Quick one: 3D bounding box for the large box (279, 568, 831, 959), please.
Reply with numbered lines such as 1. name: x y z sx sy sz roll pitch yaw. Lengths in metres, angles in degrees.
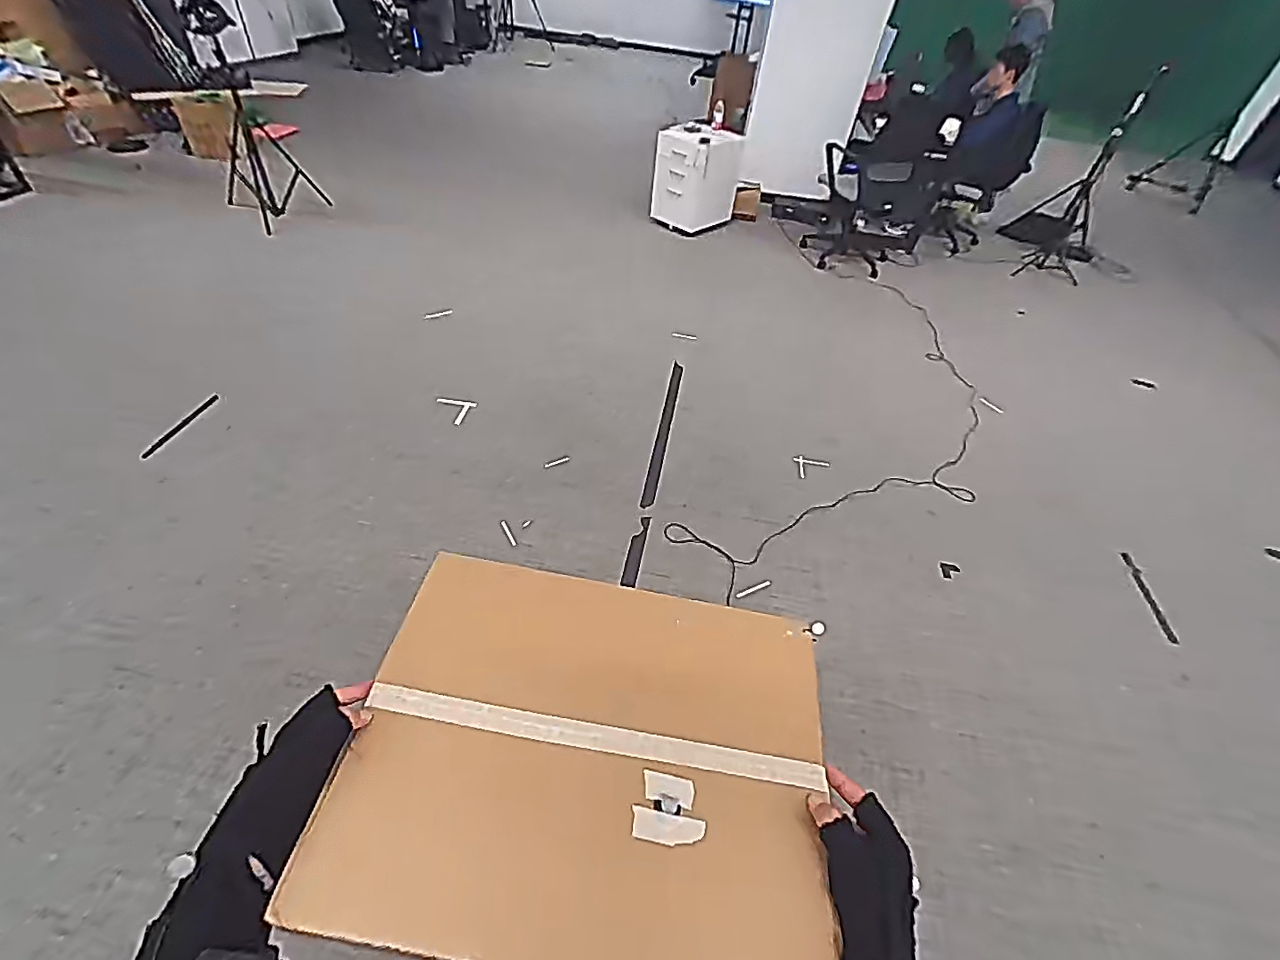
1. large box: -0.061 0.338 0.584 0.408 0.320 0.320 12 47 -1
